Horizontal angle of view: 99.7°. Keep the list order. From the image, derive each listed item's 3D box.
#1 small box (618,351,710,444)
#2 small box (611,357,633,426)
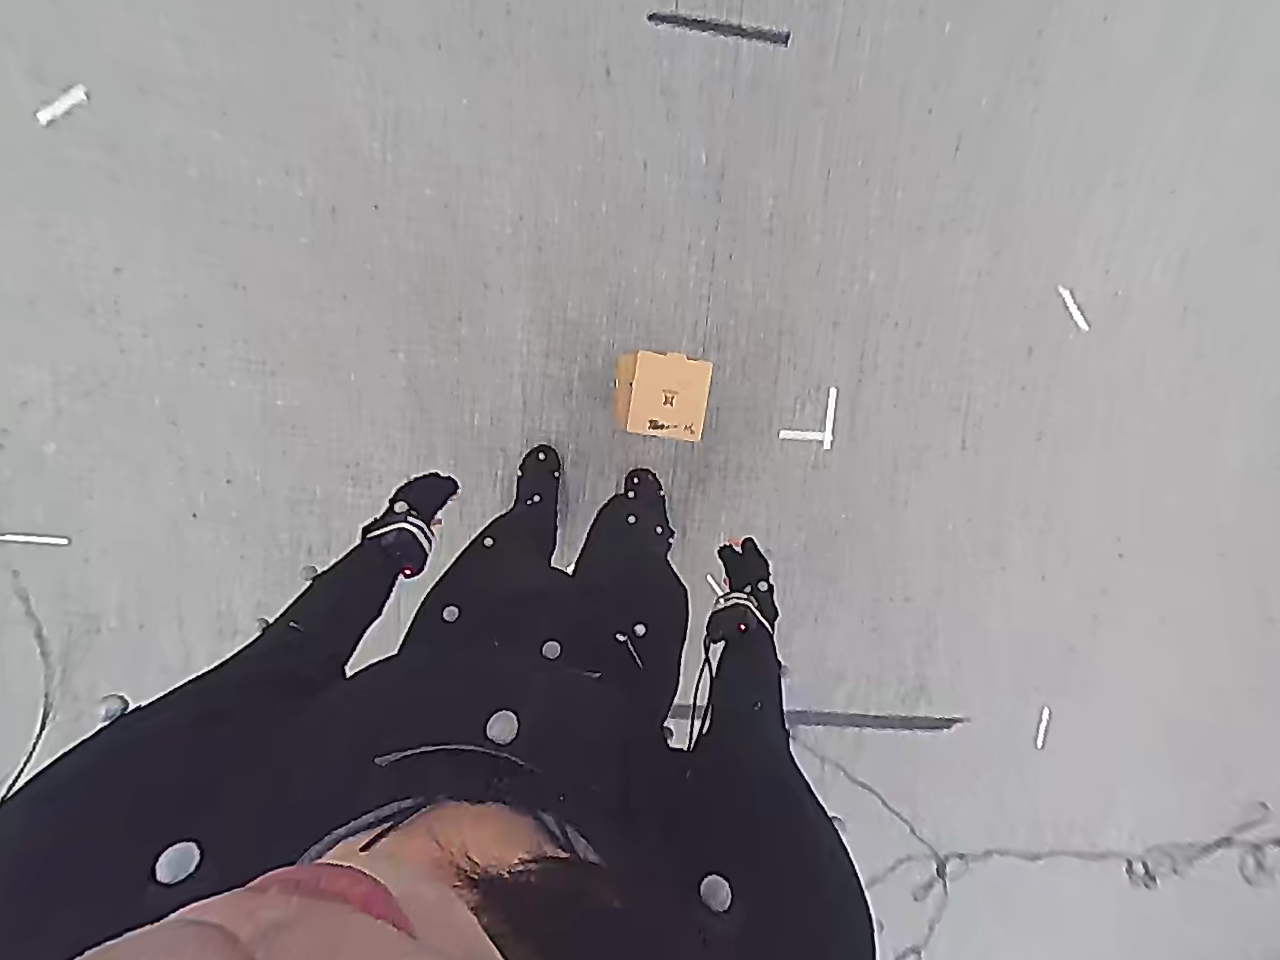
[{"bbox_3d":[0.048,-0.184,1.232,0.168,0.176,0.179,8,96,-8],"label":"small box"},{"bbox_3d":[0.021,-0.221,1.390,0.179,0.176,0.168,2,97,-7],"label":"small box"}]
